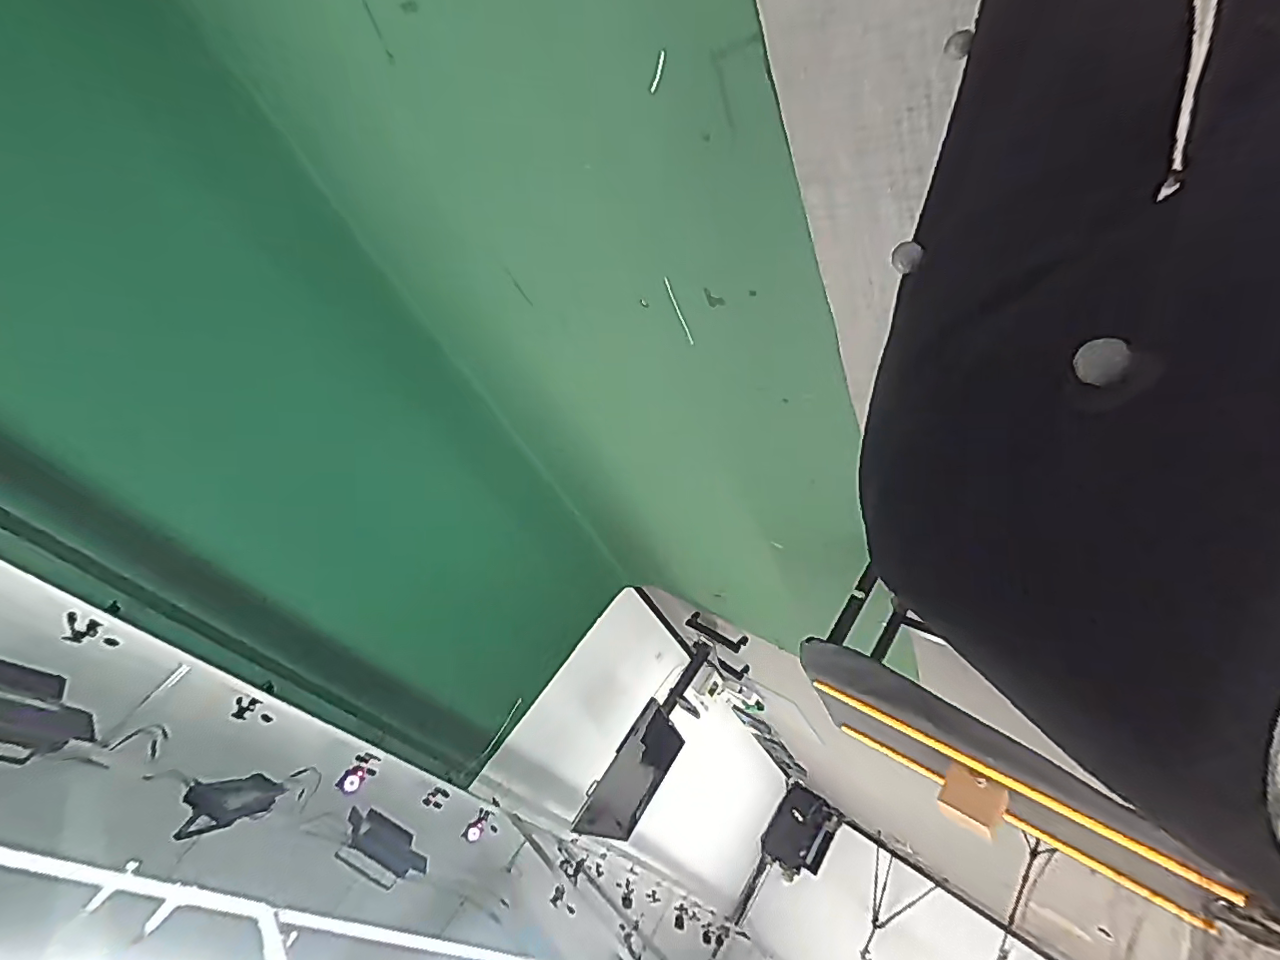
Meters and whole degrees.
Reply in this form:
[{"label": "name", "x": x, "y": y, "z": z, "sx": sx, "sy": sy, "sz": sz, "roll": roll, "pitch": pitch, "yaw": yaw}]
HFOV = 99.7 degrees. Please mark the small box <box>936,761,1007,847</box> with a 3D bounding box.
[{"label": "small box", "x": 1.149, "y": 1.114, "z": 1.869, "sx": 0.168, "sy": 0.176, "sz": 0.179, "roll": 14, "pitch": 146, "yaw": 45}]
